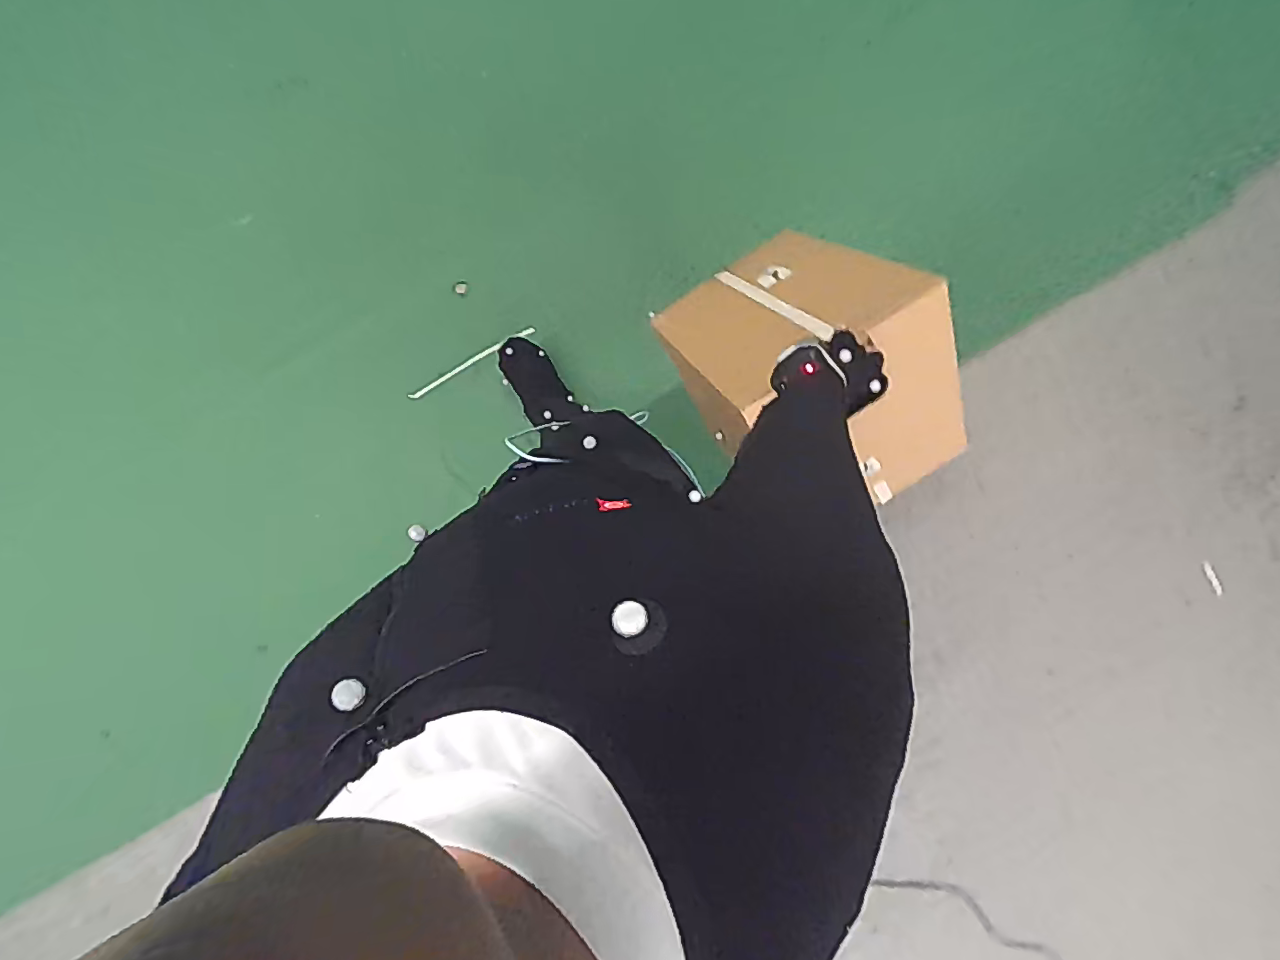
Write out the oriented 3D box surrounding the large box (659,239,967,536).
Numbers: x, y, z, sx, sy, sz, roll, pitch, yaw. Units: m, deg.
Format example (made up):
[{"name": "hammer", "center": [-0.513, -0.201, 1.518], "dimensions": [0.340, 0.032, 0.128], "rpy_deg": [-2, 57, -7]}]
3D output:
[{"name": "large box", "center": [0.288, -0.178, 0.963], "dimensions": [0.320, 0.408, 0.320], "rpy_deg": [-31, 125, 3]}]
